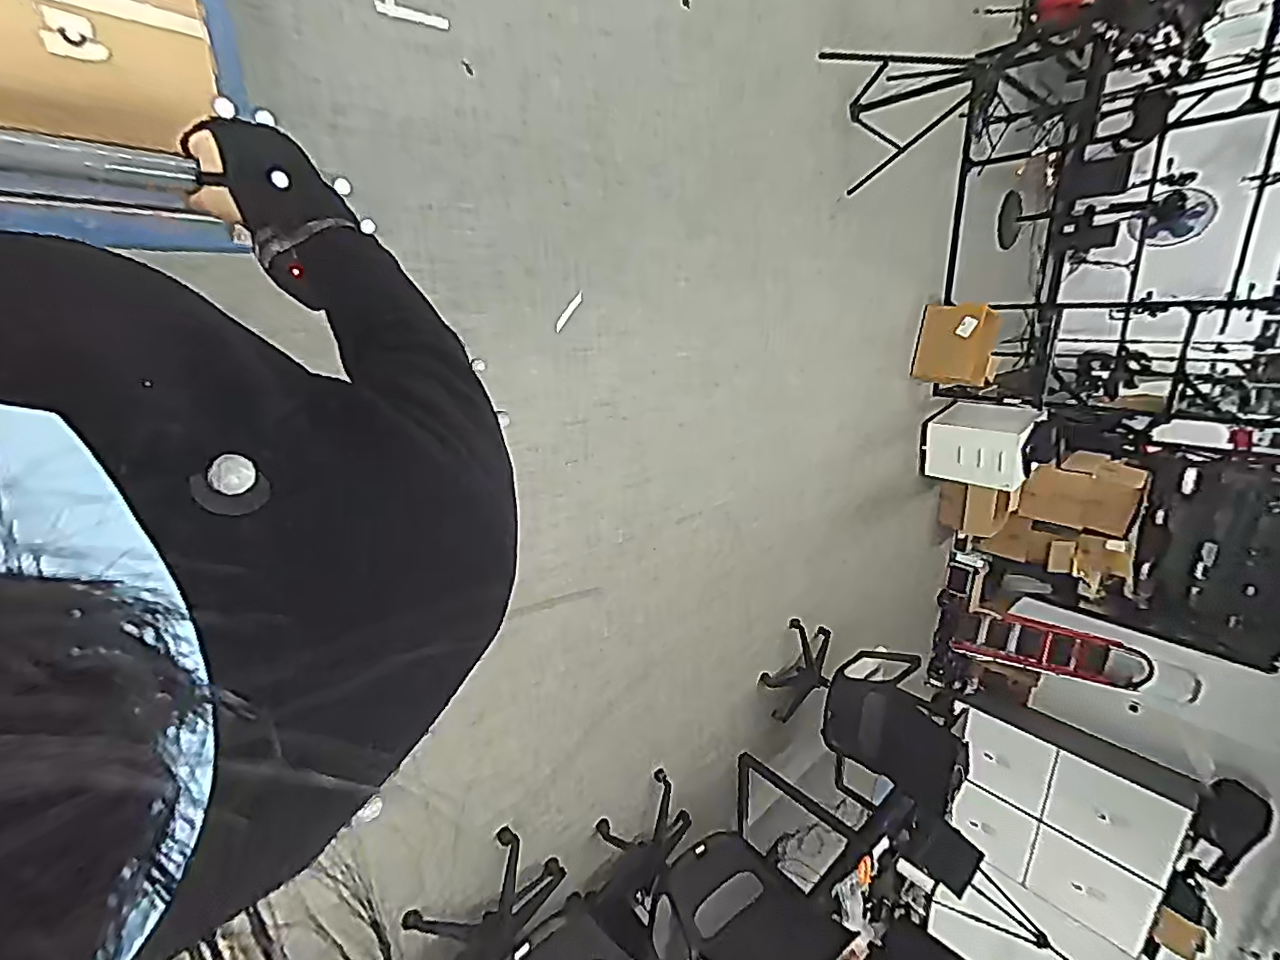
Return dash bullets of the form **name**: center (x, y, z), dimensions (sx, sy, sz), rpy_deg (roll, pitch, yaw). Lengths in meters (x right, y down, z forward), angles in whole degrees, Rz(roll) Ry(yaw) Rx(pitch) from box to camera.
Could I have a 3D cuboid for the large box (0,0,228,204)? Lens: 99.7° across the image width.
- **large box**: center (-0.837, -0.575, 0.704), dimensions (0.408, 0.320, 0.320), rpy_deg (-15, 112, -41)
